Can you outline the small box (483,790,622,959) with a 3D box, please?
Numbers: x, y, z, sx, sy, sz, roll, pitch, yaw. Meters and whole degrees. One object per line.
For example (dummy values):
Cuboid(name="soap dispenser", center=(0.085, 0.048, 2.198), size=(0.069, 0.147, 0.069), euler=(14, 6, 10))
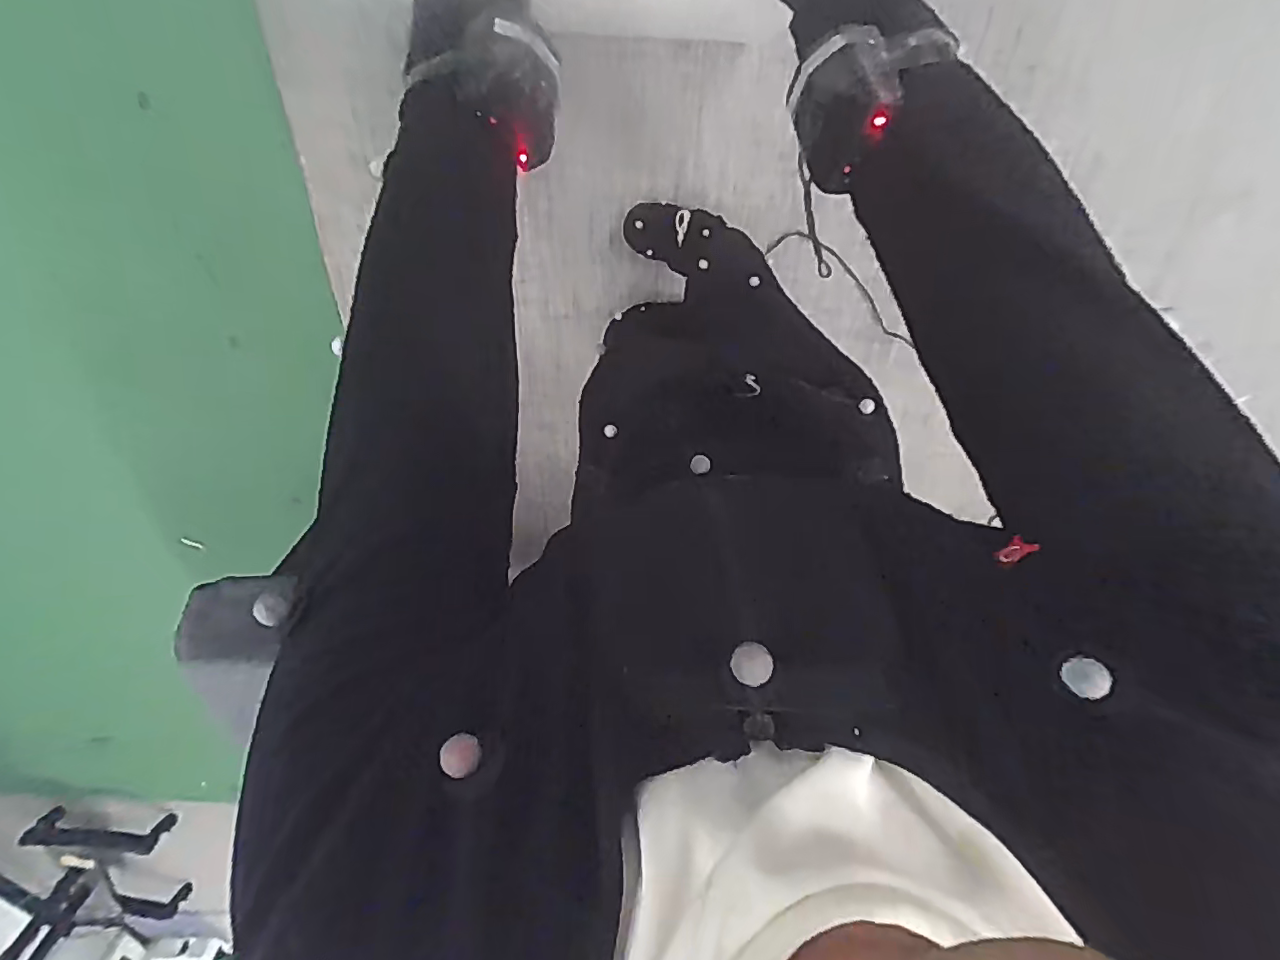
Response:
Cuboid(name="small box", center=(-0.115, 0.587, 0.794), size=(0.168, 0.176, 0.179), euler=(3, 127, 2))
